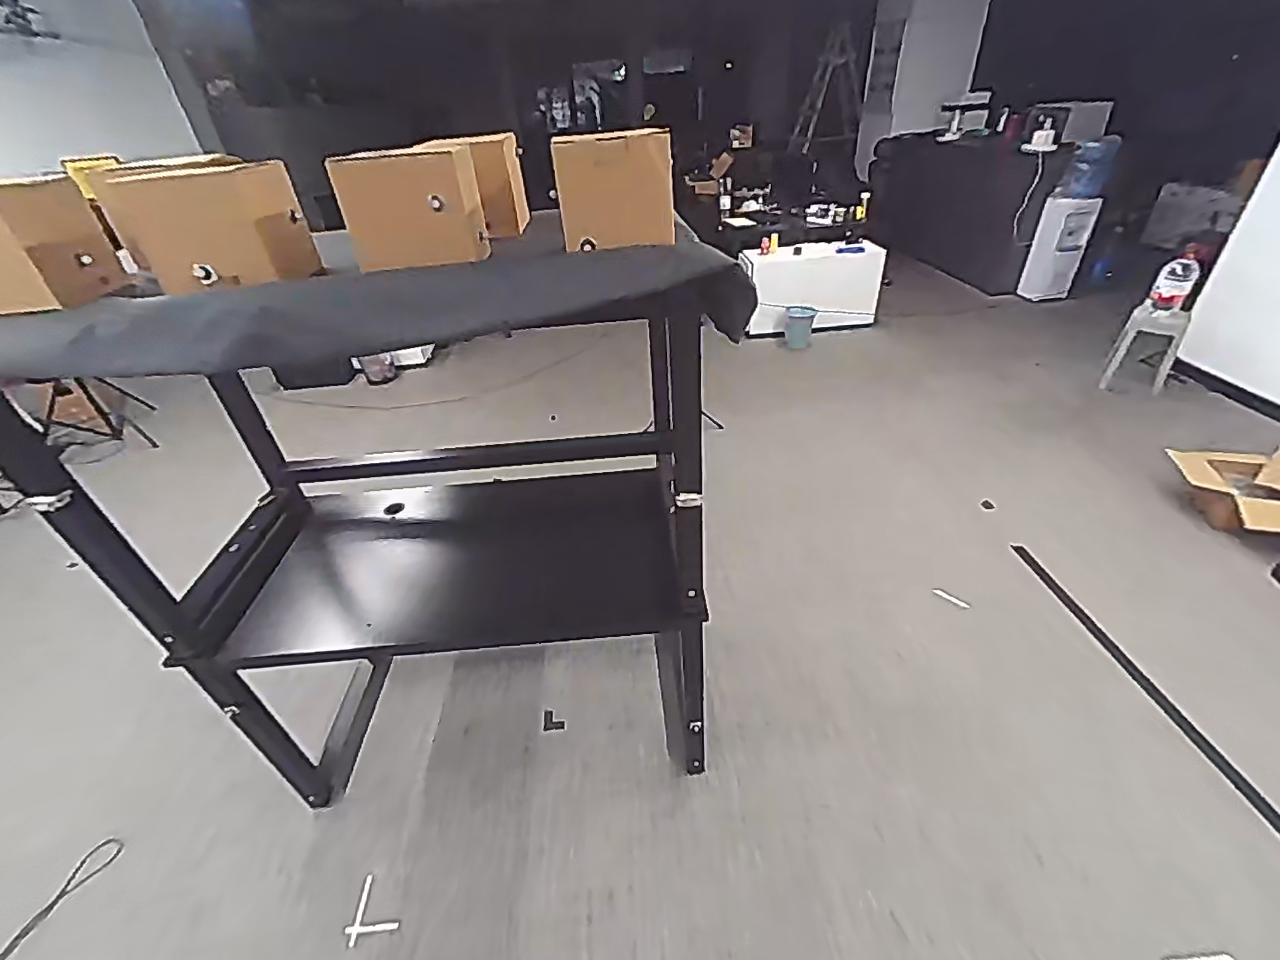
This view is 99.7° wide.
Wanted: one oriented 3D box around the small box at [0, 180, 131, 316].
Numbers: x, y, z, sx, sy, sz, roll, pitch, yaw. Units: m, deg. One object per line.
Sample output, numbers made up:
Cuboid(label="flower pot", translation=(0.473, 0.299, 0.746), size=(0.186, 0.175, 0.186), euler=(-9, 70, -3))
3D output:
Cuboid(label="small box", translation=(-0.967, -0.355, 0.833), size=(0.179, 0.176, 0.168), euler=(-7, 34, -4))

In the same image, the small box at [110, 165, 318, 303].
Cuboid(label="small box", translation=(-0.636, -0.384, 0.841), size=(0.168, 0.176, 0.179), euler=(-8, 34, -4))

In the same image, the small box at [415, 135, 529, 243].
Cuboid(label="small box", translation=(-0.326, -0.584, 1.090), size=(0.168, 0.176, 0.179), euler=(-6, 35, -1))

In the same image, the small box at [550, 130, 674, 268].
Cuboid(label="small box", translation=(-0.042, -0.438, 0.846), size=(0.168, 0.176, 0.179), euler=(-7, 34, -3))

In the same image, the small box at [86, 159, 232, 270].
Cuboid(label="small box", translation=(-0.900, -0.526, 1.071), size=(0.179, 0.176, 0.168), euler=(-5, 35, -3))
